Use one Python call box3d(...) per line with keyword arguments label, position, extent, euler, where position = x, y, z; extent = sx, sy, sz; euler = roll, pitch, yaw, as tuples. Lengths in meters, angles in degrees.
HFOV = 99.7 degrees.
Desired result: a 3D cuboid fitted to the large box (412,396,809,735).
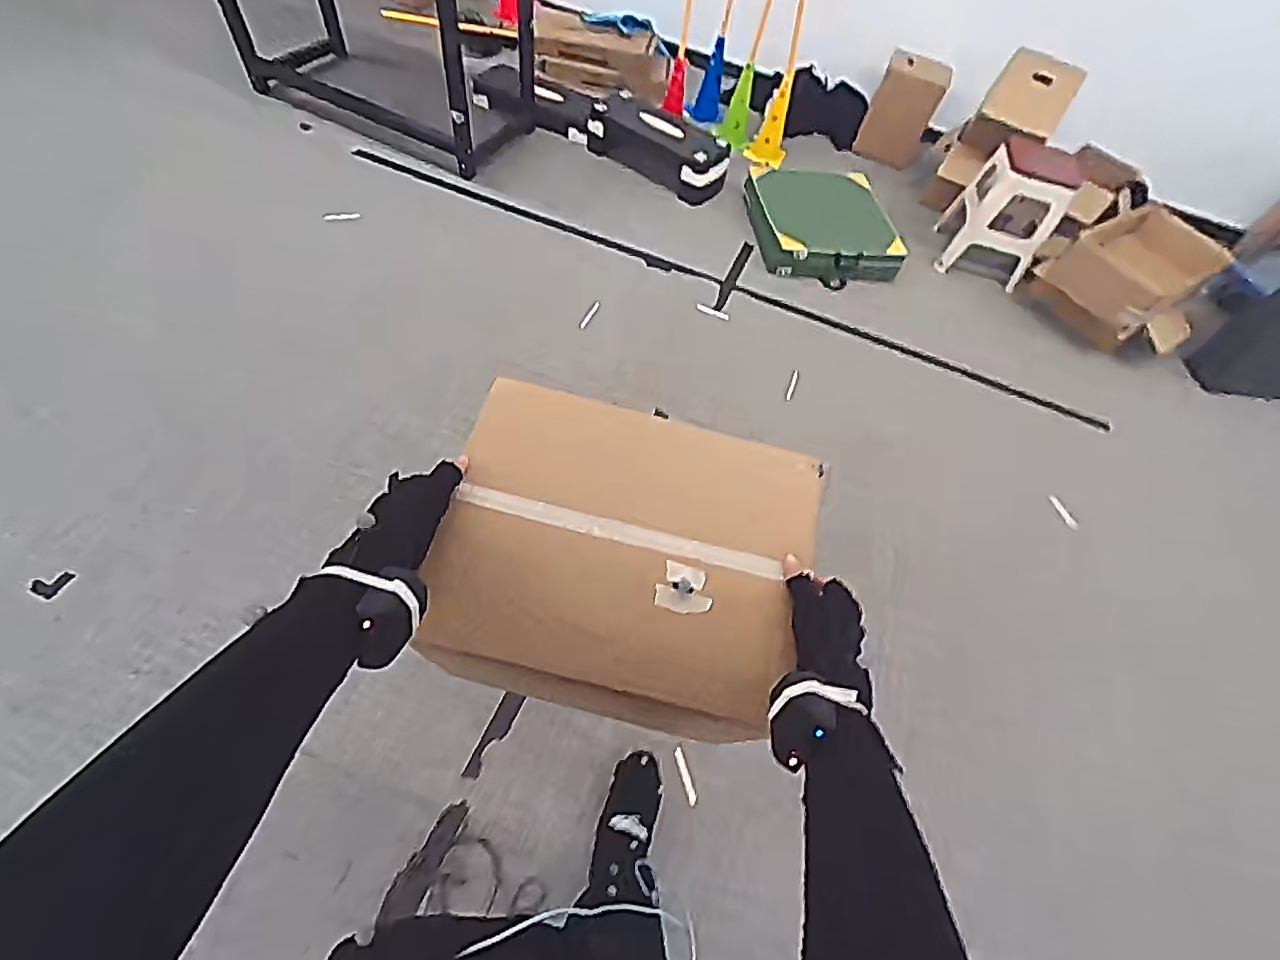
box3d(label="large box", position=(-0.029, 0.137, 0.738), extent=(0.408, 0.320, 0.320), euler=(14, 63, -2))
